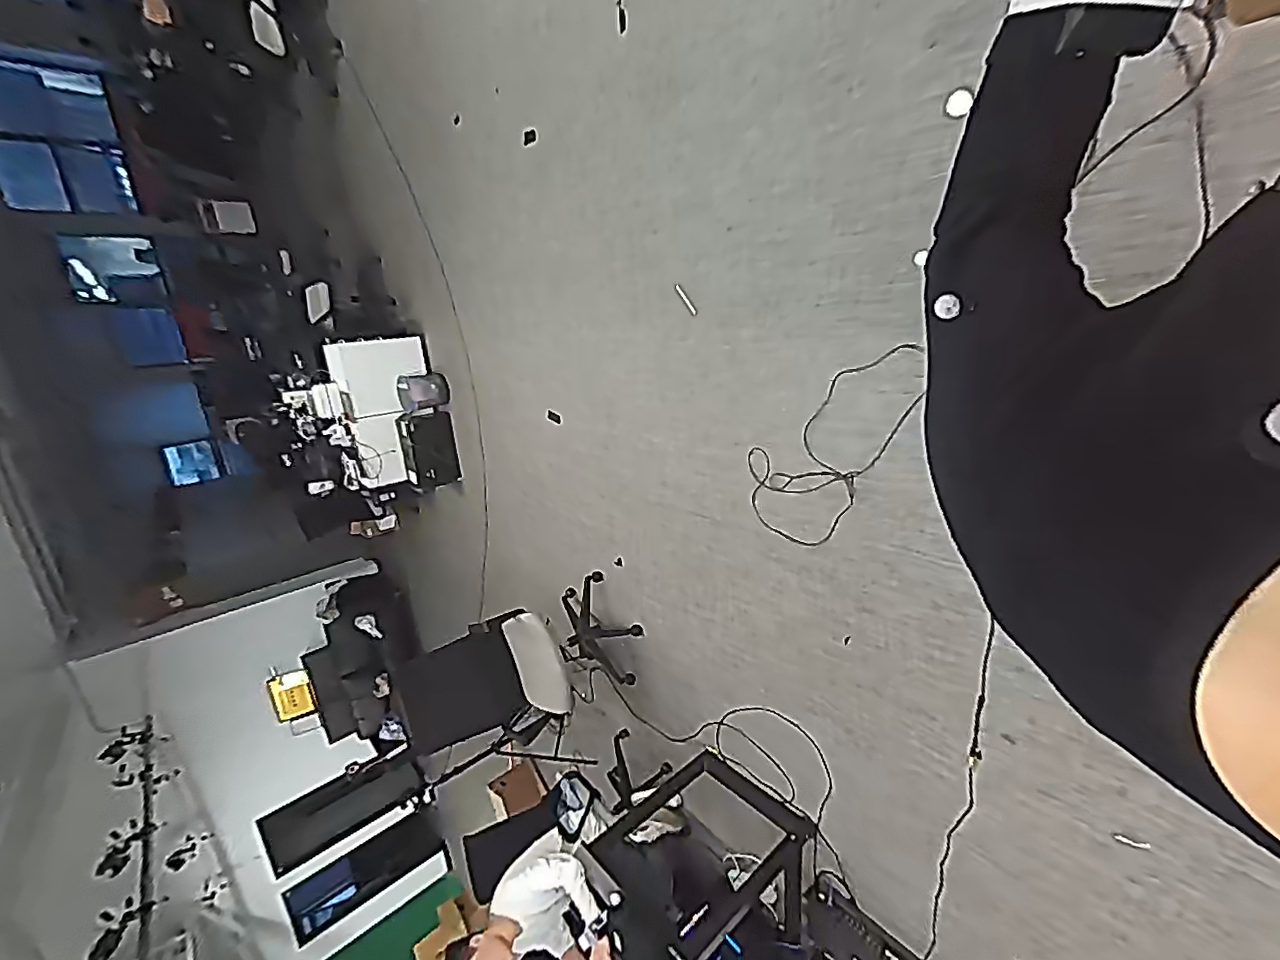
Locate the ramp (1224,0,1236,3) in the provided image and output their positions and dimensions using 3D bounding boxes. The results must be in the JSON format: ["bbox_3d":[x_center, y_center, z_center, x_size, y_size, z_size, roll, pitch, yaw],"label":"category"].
[{"bbox_3d":[1.048,-1.218,0.556,0.509,0.206,0.991,11,113,48],"label":"ramp"}]
